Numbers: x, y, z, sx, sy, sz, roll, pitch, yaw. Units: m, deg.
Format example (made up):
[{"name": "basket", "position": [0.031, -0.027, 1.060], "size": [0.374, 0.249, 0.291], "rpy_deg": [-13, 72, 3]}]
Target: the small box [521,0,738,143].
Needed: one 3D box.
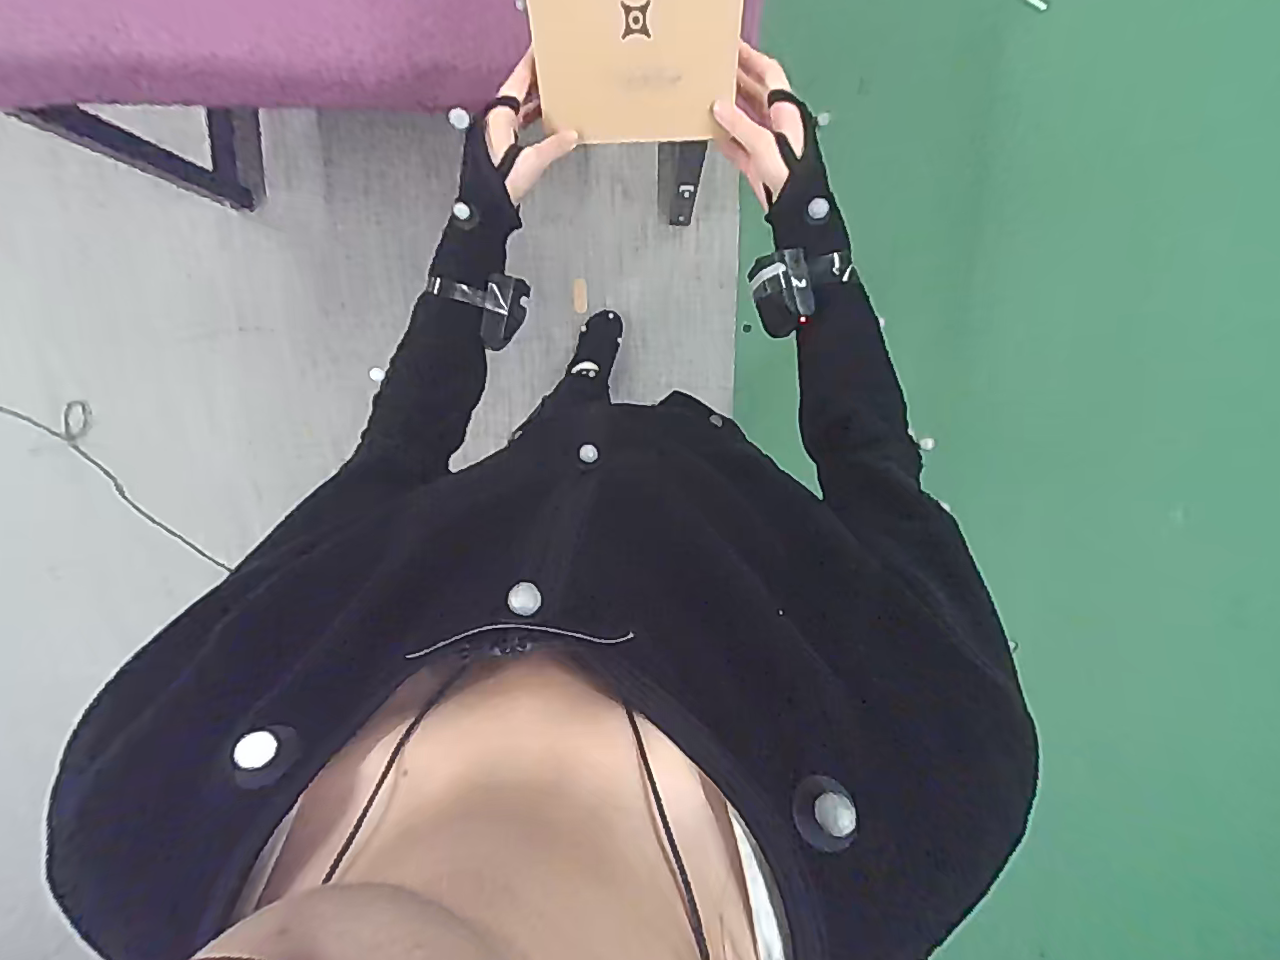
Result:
[{"name": "small box", "position": [-0.009, -0.412, 0.464], "size": [0.168, 0.176, 0.179], "rpy_deg": [-1, 136, 1]}]
